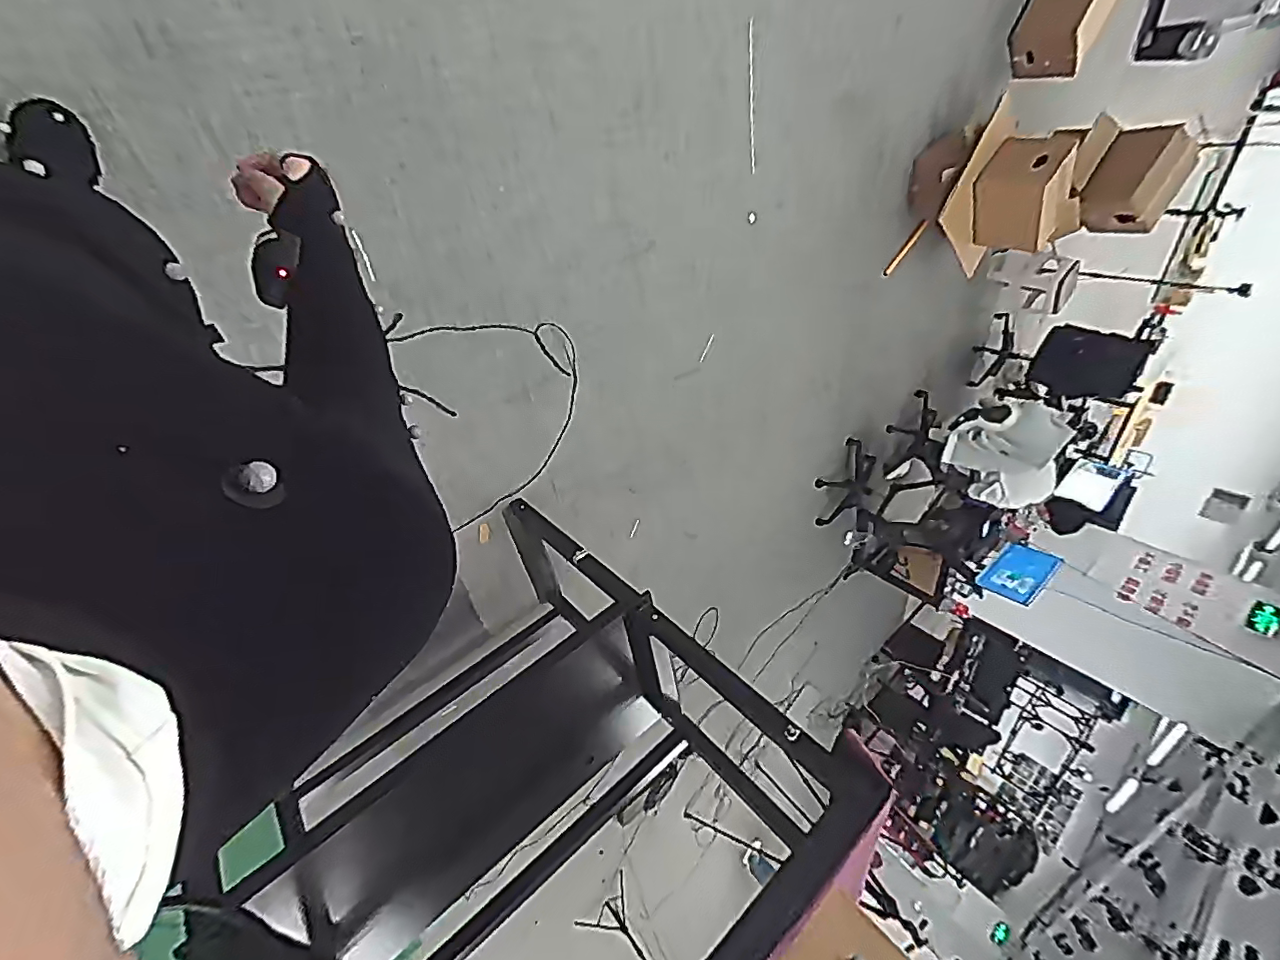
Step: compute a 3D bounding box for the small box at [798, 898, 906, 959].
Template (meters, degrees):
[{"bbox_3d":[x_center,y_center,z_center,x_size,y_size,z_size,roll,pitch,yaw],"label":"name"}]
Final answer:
[{"bbox_3d":[0.379,0.902,0.960,0.179,0.176,0.168,-34,133,-26],"label":"small box"}]
